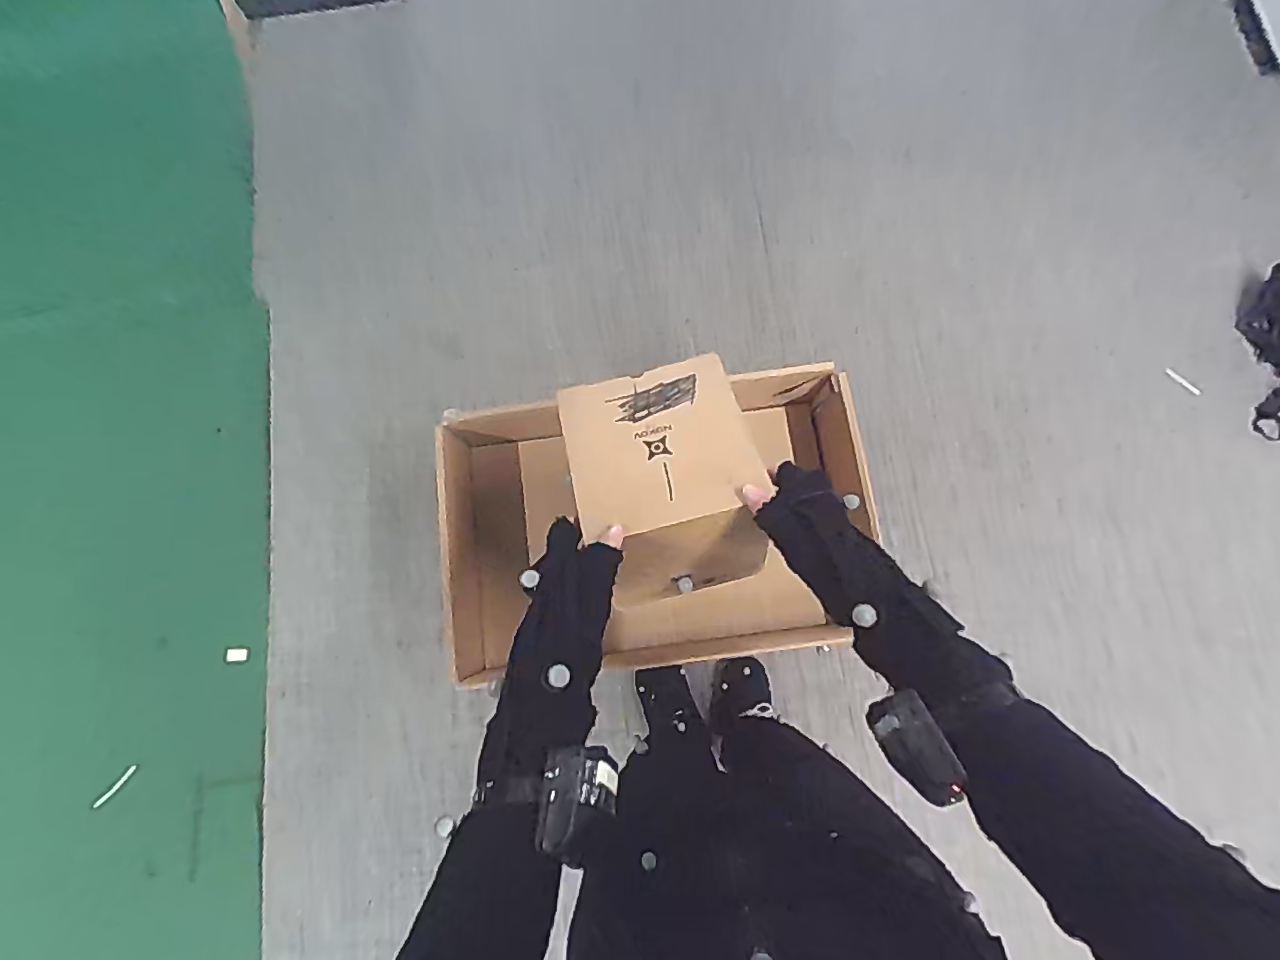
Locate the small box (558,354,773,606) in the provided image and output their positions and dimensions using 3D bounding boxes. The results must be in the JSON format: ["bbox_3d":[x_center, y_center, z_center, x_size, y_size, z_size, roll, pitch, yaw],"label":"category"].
[{"bbox_3d":[0.024,0.006,0.556,0.168,0.176,0.179,-15,58,0],"label":"small box"}]
